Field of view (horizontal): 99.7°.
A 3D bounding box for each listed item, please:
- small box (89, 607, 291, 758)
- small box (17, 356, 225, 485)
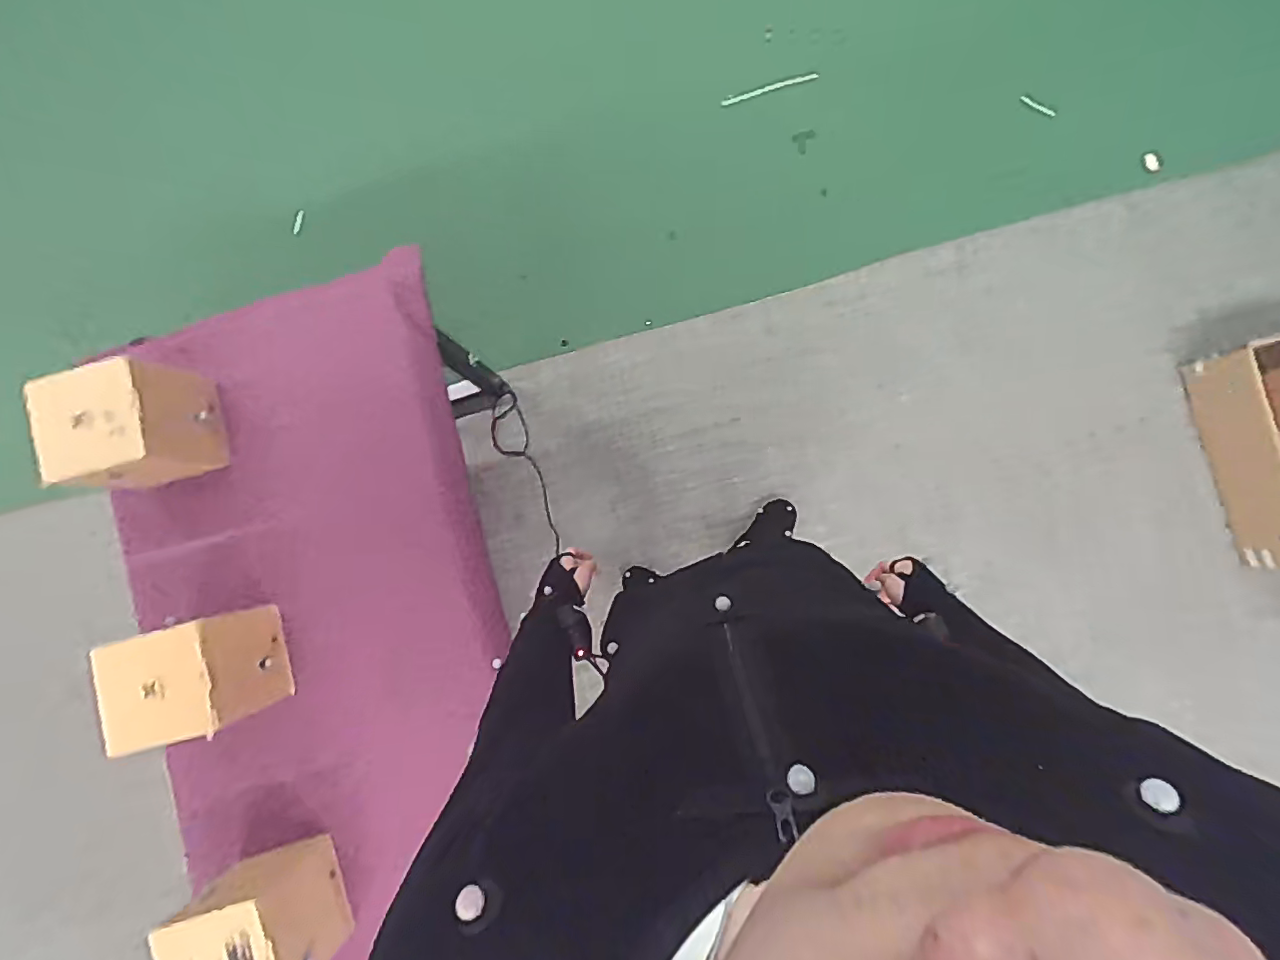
[{"bbox_3d":[-0.717,0.316,0.877,0.179,0.176,0.168,-16,85,1],"label":"small box"},{"bbox_3d":[-0.855,-0.089,0.906,0.179,0.176,0.168,-15,88,2],"label":"small box"}]
